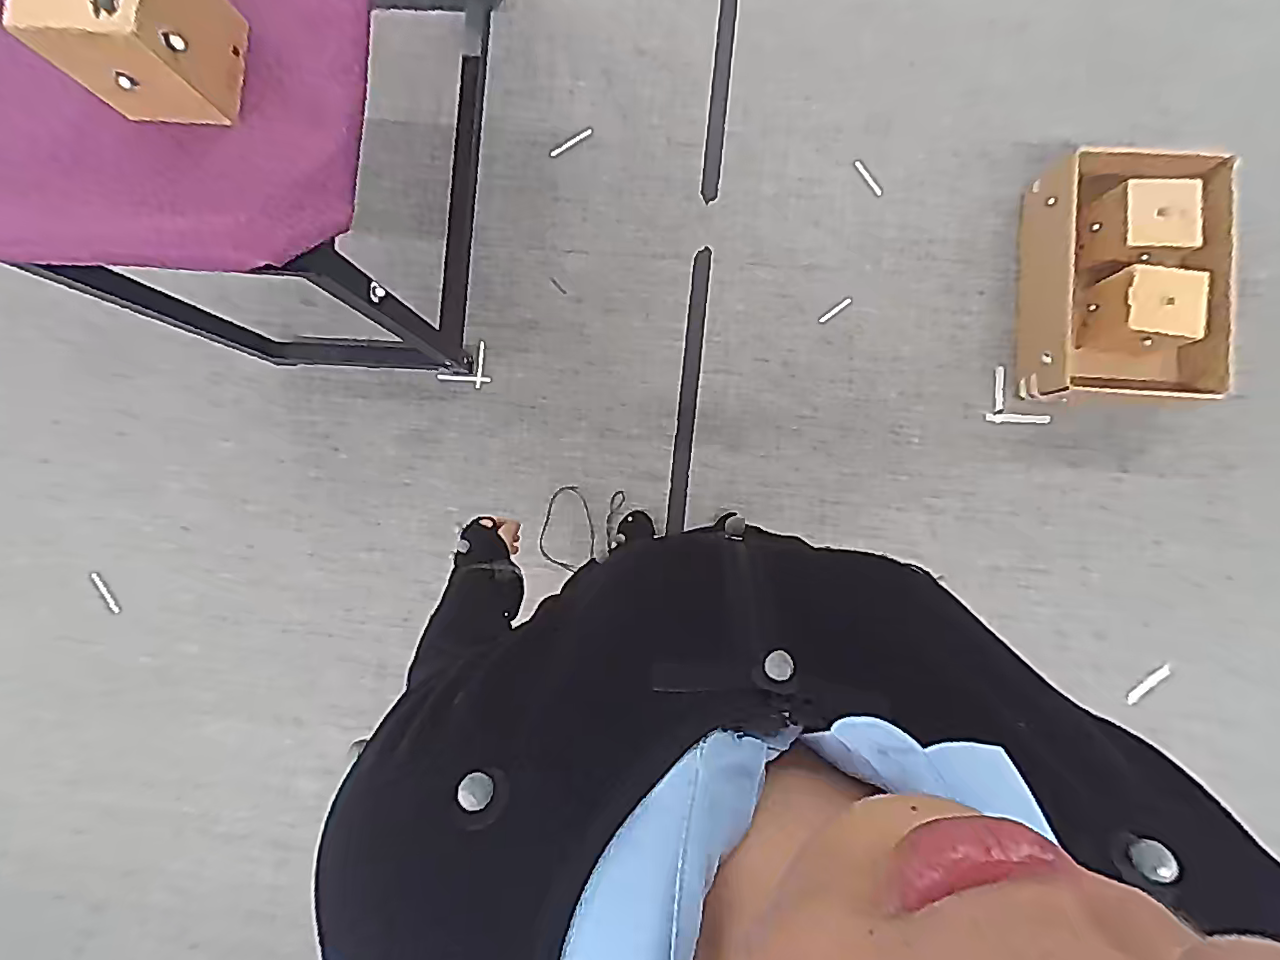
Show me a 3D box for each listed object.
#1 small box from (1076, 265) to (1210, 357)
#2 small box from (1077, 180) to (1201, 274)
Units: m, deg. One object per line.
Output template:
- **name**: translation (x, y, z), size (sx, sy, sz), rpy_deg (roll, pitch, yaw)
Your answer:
- **small box**: translation (1.272, -0.422, 1.378), size (0.179, 0.176, 0.168), rpy_deg (9, 87, 3)
- **small box**: translation (1.268, -0.640, 1.385), size (0.179, 0.176, 0.168), rpy_deg (2, 89, 2)
